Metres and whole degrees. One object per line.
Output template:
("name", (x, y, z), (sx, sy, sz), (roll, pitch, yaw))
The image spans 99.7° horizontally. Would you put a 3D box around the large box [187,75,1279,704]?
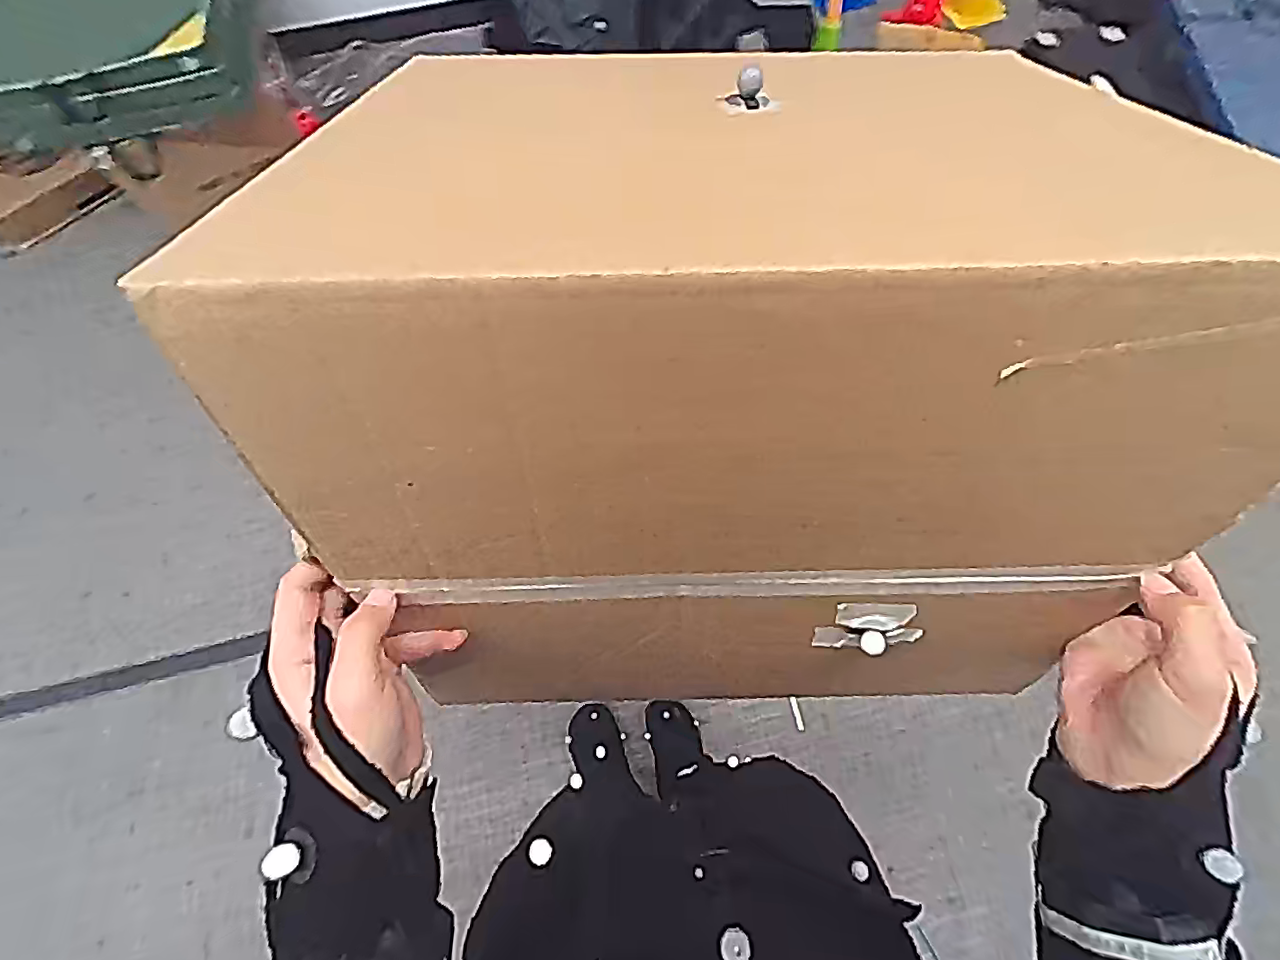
("large box", (0.052, -0.060, 0.376), (0.408, 0.320, 0.320), (-2, 48, 0))
